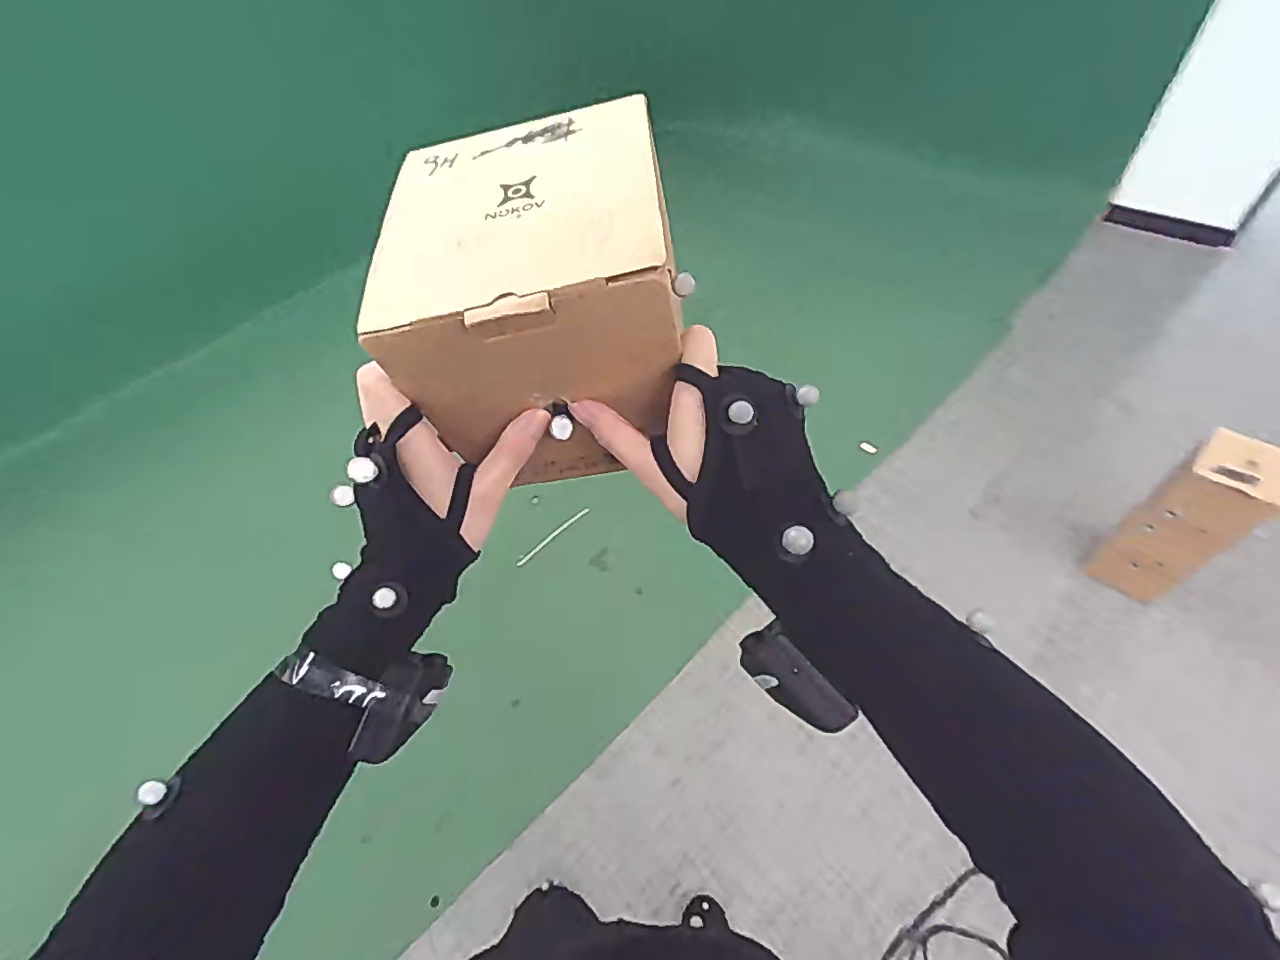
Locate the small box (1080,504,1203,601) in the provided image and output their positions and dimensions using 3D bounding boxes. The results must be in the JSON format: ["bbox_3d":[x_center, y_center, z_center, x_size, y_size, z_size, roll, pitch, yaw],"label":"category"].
[{"bbox_3d":[1.387,0.207,1.510,0.168,0.176,0.179,-40,57,-19],"label":"small box"}]

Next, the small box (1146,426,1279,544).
[{"bbox_3d":[1.330,0.015,1.249,0.179,0.176,0.168,-41,56,-21],"label":"small box"}]

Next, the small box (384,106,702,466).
[{"bbox_3d":[-0.050,-0.123,0.395,0.168,0.176,0.179,-8,59,8],"label":"small box"}]
